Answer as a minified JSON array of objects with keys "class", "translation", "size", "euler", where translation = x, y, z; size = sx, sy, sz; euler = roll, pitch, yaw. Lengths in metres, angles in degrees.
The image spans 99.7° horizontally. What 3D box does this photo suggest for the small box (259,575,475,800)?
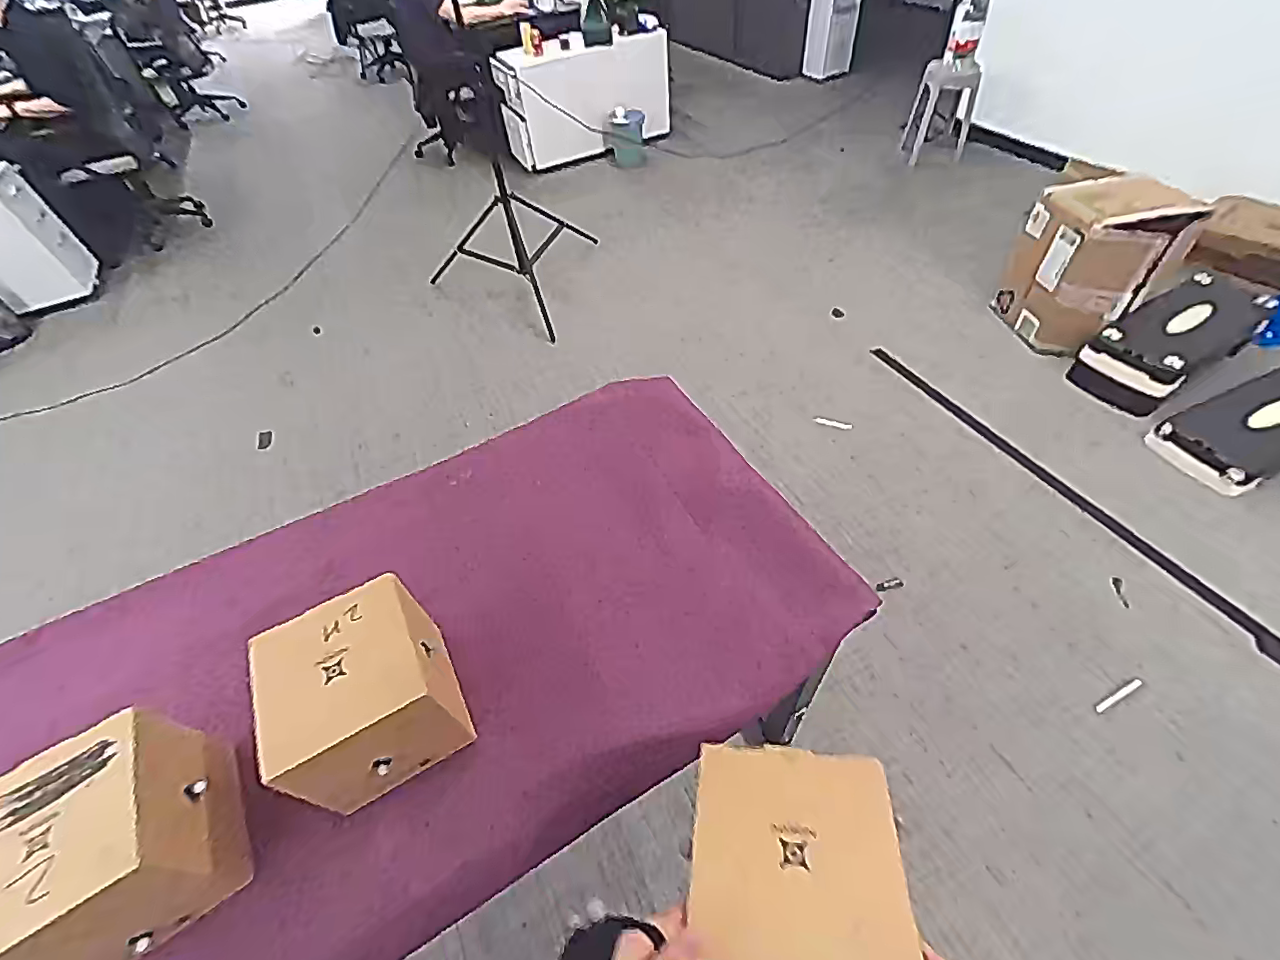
[{"class":"small box","translation":[-0.319,0.255,0.652],"size":[0.168,0.176,0.179],"euler":[-25,51,-16]}]
